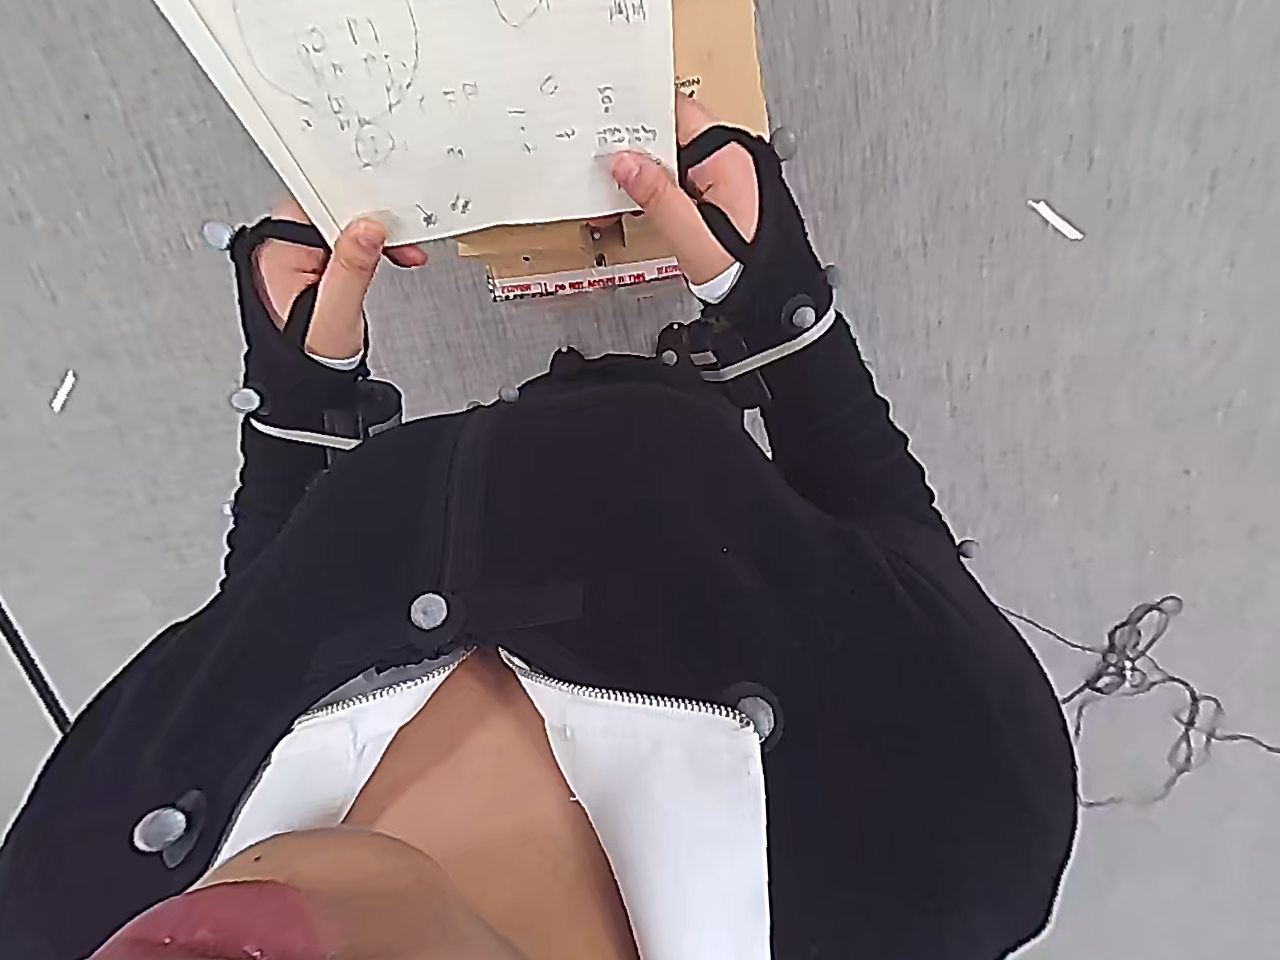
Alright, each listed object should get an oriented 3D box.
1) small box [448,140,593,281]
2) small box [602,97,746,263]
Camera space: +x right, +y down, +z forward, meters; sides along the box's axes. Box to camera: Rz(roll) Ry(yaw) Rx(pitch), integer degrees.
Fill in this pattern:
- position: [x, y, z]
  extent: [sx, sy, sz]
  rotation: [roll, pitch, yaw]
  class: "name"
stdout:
- position: [-0.167, -0.398, 0.826]
  extent: [0.179, 0.176, 0.168]
  rotation: [-3, 107, 3]
  class: "small box"
- position: [0.046, -0.436, 0.814]
  extent: [0.179, 0.176, 0.168]
  rotation: [-12, 106, 3]
  class: "small box"
